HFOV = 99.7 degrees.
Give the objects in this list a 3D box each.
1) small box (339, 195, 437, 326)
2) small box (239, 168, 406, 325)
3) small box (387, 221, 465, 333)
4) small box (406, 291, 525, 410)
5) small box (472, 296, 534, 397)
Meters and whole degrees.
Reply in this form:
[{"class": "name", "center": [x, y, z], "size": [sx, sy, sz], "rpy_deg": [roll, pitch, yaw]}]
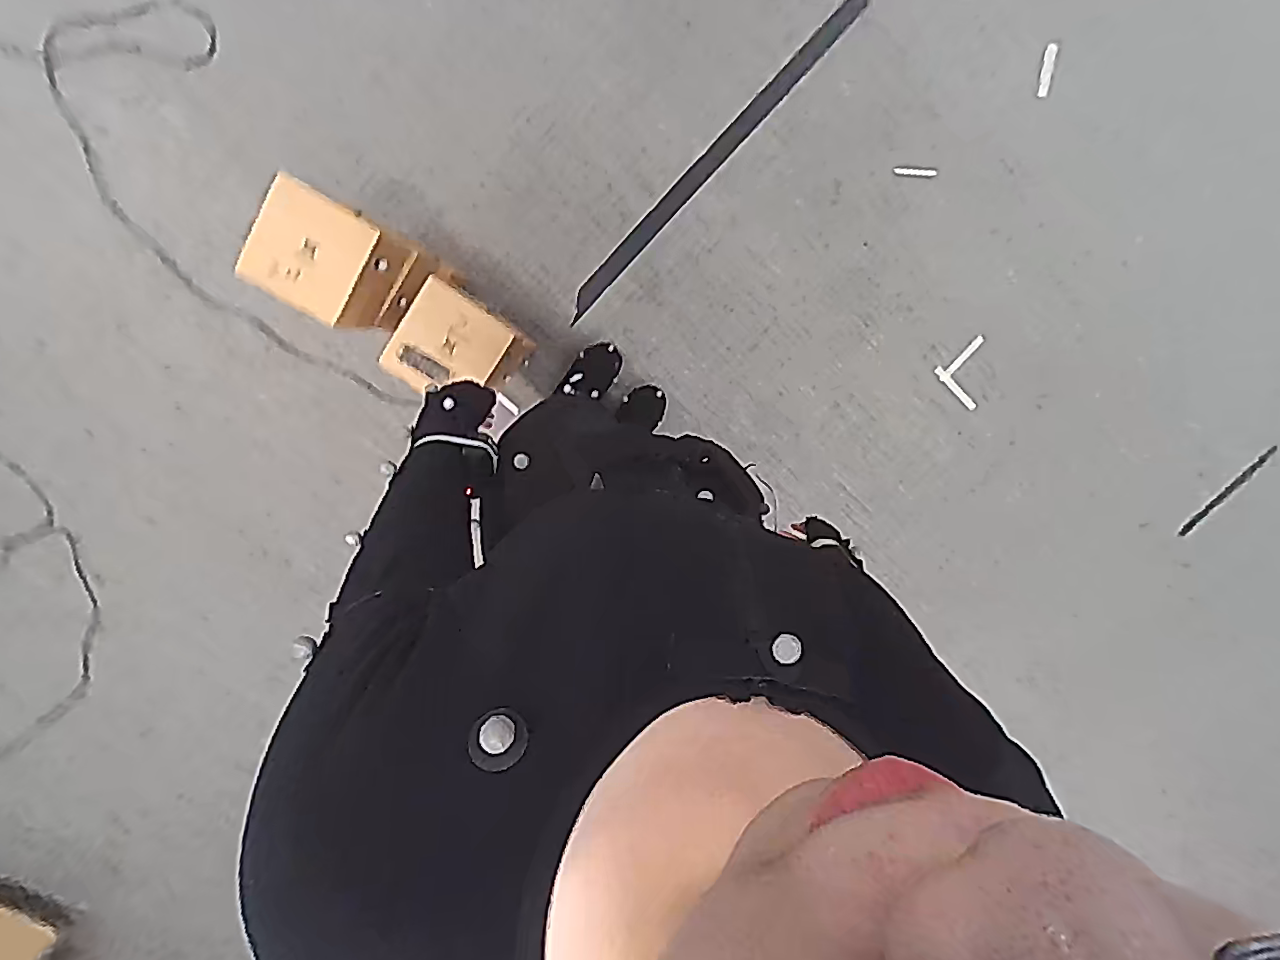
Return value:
[{"class": "small box", "center": [-0.537, -0.429, 1.093], "size": [0.168, 0.176, 0.179], "rpy_deg": [34, 98, -13]}, {"class": "small box", "center": [-0.529, -0.387, 0.933], "size": [0.168, 0.176, 0.179], "rpy_deg": [31, 99, -12]}, {"class": "small box", "center": [-0.531, -0.459, 1.256], "size": [0.168, 0.176, 0.179], "rpy_deg": [33, 99, -13]}, {"class": "small box", "center": [-0.360, -0.274, 1.153], "size": [0.168, 0.176, 0.179], "rpy_deg": [36, 97, -13]}, {"class": "small box", "center": [-0.373, -0.319, 1.311], "size": [0.168, 0.176, 0.179], "rpy_deg": [40, 98, -14]}]
